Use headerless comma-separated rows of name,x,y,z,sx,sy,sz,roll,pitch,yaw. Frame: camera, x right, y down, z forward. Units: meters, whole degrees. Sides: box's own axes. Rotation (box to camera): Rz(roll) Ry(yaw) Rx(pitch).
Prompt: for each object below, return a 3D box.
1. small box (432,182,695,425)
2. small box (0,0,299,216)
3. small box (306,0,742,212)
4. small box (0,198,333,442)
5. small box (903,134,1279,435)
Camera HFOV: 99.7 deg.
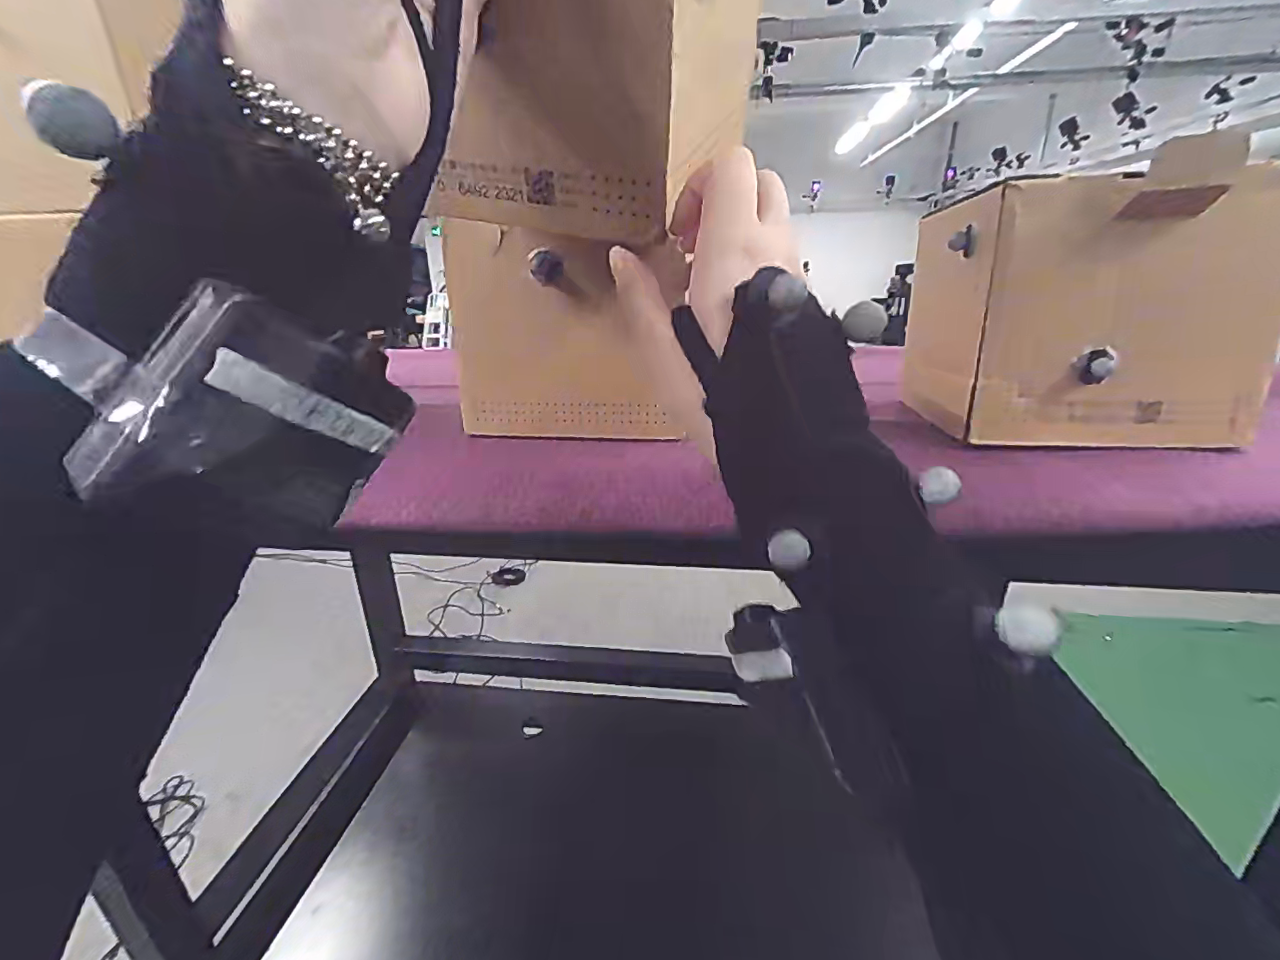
small box,-0.045,-0.145,0.456,0.179,0.176,0.168,2,20,7
small box,-0.406,-0.292,0.407,0.179,0.176,0.168,-1,22,3
small box,-0.042,-0.247,0.258,0.168,0.176,0.179,13,47,12
small box,-0.396,-0.137,0.465,0.168,0.176,0.179,-1,22,4
small box,0.311,-0.136,0.404,0.168,0.176,0.179,1,19,10
